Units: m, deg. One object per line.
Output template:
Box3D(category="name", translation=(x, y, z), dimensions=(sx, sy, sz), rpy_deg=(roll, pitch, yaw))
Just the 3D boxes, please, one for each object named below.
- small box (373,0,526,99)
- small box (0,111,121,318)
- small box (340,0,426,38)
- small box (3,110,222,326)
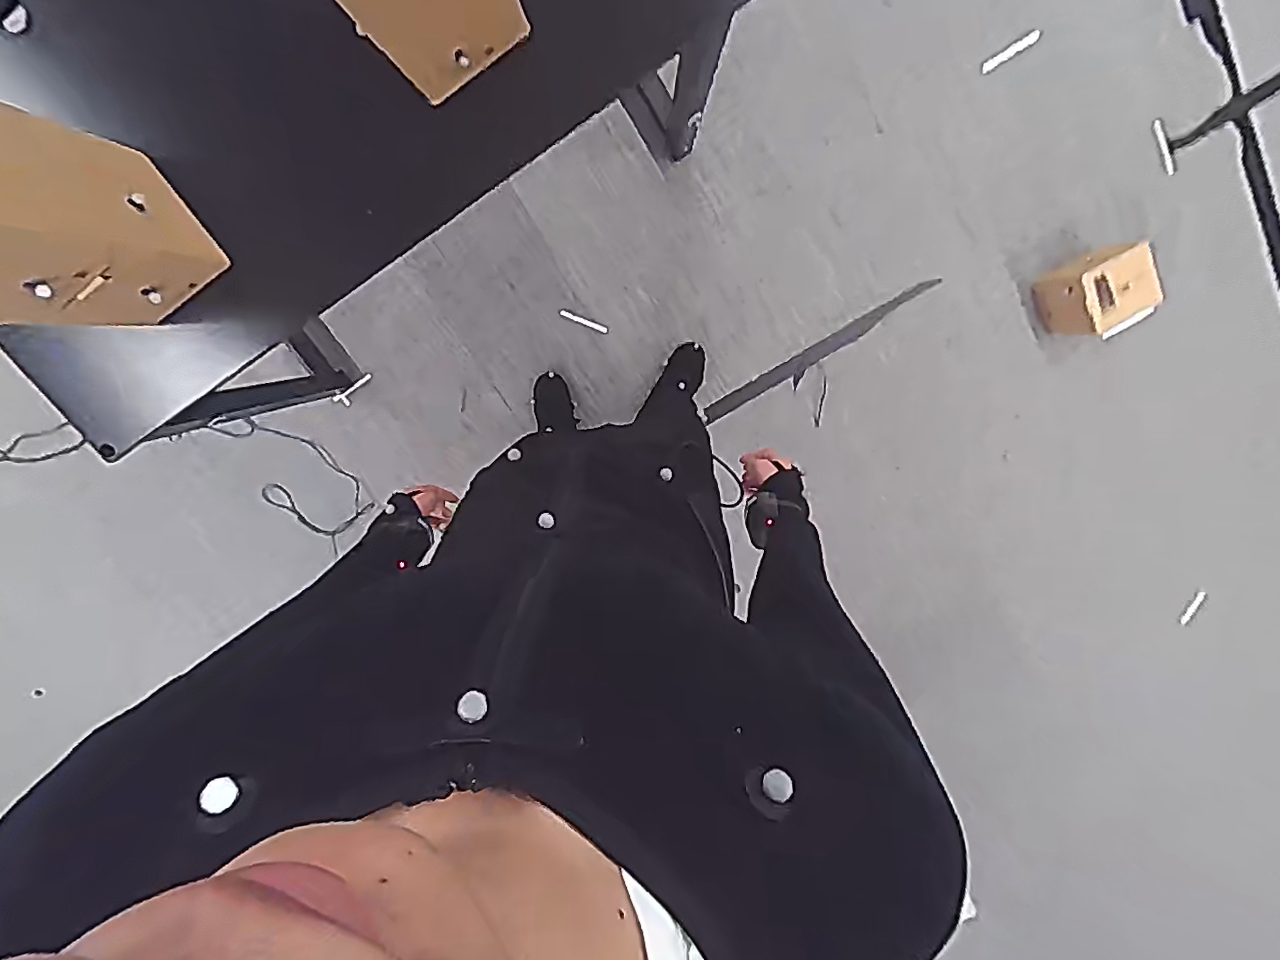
Box3D(category="small box", translation=(-0.258, -0.601, 0.630), dimensions=(0.168, 0.176, 0.179), rpy_deg=(-31, 104, 8))
Box3D(category="small box", translation=(-0.708, -0.278, 0.541), dimensions=(0.168, 0.176, 0.179), rpy_deg=(-32, 104, 8))
Box3D(category="small box", translation=(-0.252, -0.552, 0.473), dimensions=(0.179, 0.176, 0.168), rpy_deg=(-35, 104, 8))
Box3D(category="small box", translation=(-0.710, -0.321, 0.701), dimensions=(0.168, 0.176, 0.179), rpy_deg=(-33, 104, 8))
